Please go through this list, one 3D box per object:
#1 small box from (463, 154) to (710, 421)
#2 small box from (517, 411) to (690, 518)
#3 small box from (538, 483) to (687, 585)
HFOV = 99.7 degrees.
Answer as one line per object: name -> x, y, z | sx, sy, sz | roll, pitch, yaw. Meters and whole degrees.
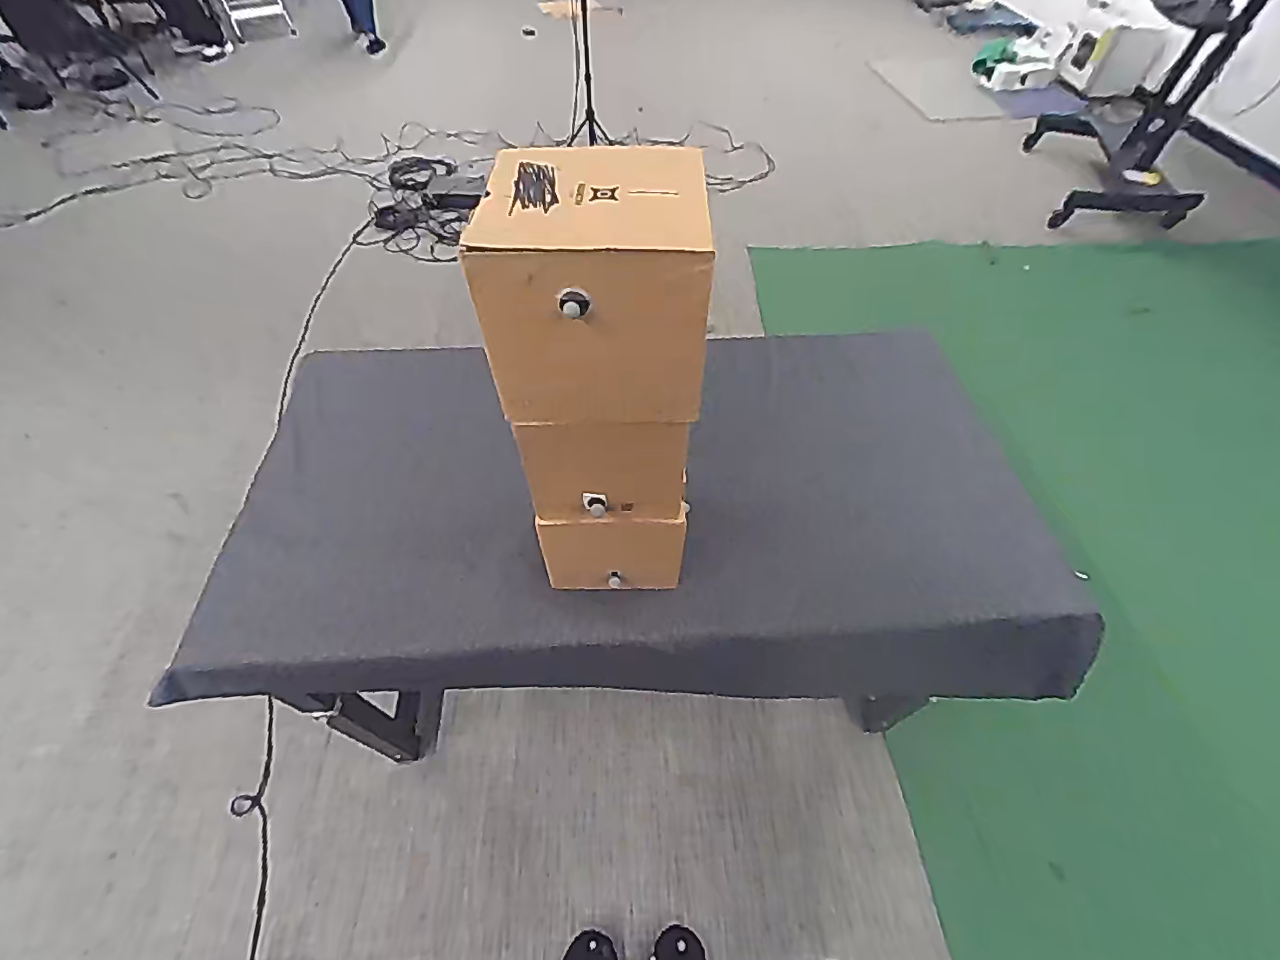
small box -> -0.034, -0.167, 0.484 | 0.179, 0.176, 0.168 | 1, 52, 1
small box -> -0.036, -0.072, 0.619 | 0.168, 0.176, 0.179 | -2, 54, 0
small box -> -0.035, 0.034, 0.741 | 0.179, 0.176, 0.168 | 0, 52, -1
